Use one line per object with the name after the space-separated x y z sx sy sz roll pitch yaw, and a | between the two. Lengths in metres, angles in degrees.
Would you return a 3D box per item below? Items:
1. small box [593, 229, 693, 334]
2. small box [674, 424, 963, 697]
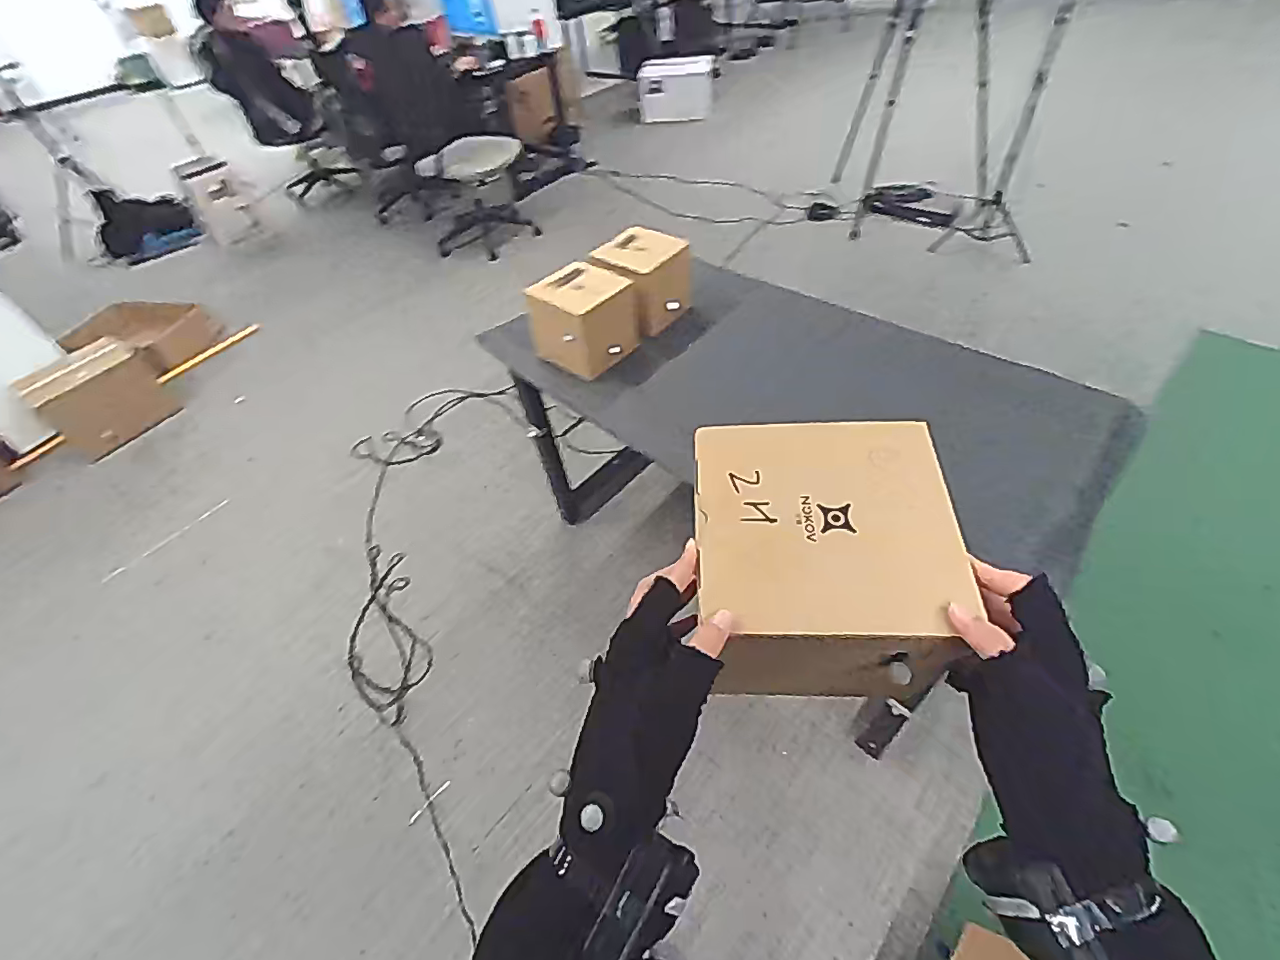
0.012 -0.478 1.307 0.179 0.176 0.168 30 59 28 | small box
0.118 0.072 0.438 0.179 0.176 0.168 -2 56 6 | small box
